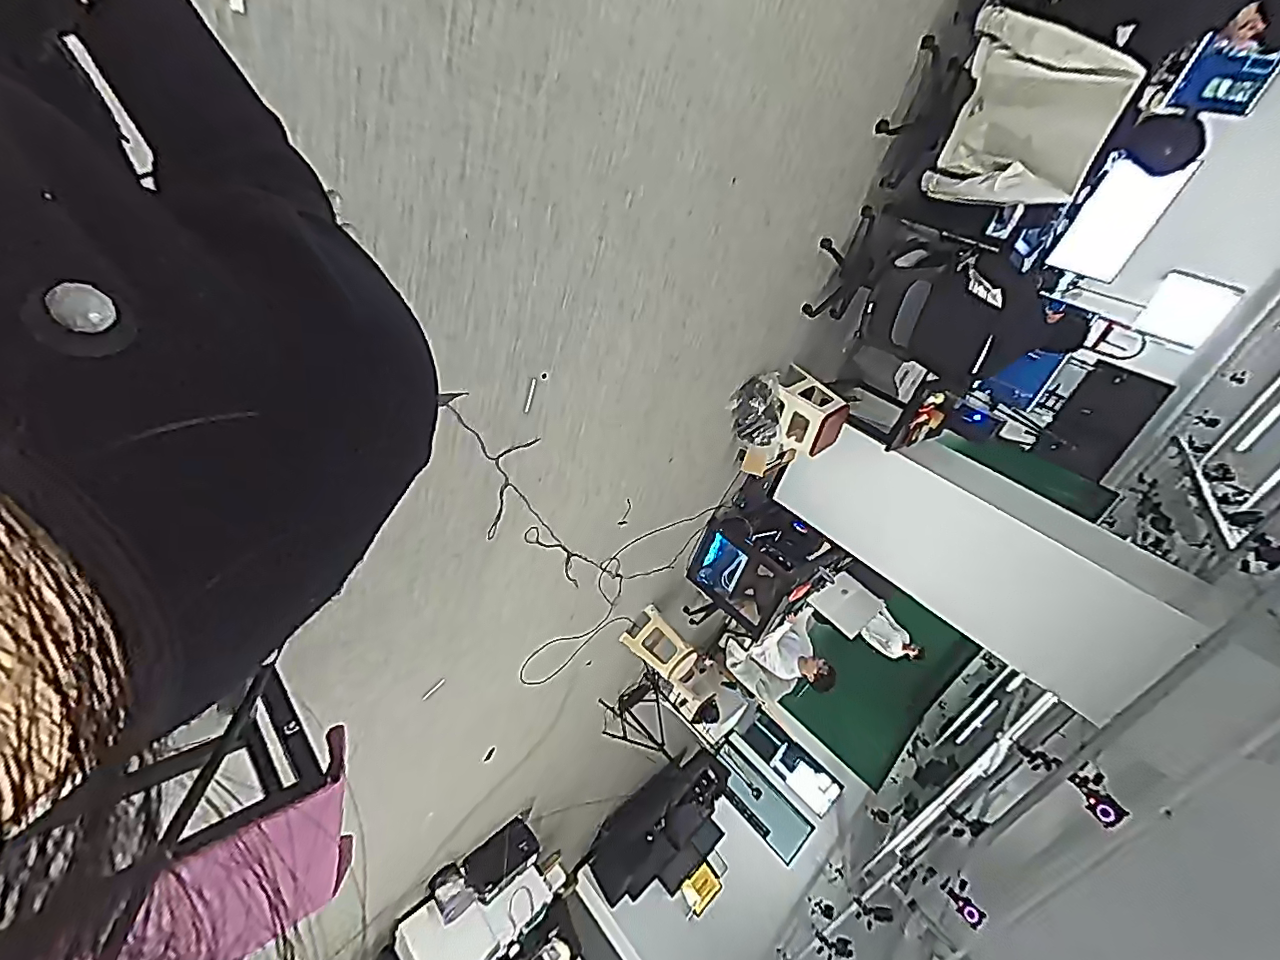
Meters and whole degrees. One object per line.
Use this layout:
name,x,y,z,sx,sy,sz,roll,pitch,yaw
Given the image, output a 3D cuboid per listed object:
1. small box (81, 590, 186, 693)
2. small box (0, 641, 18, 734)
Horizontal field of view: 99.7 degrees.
small box,-1.335,0.418,1.429,0.179,0.176,0.168,-10,130,-48
small box,-1.543,0.482,1.215,0.168,0.176,0.179,-15,133,-46
